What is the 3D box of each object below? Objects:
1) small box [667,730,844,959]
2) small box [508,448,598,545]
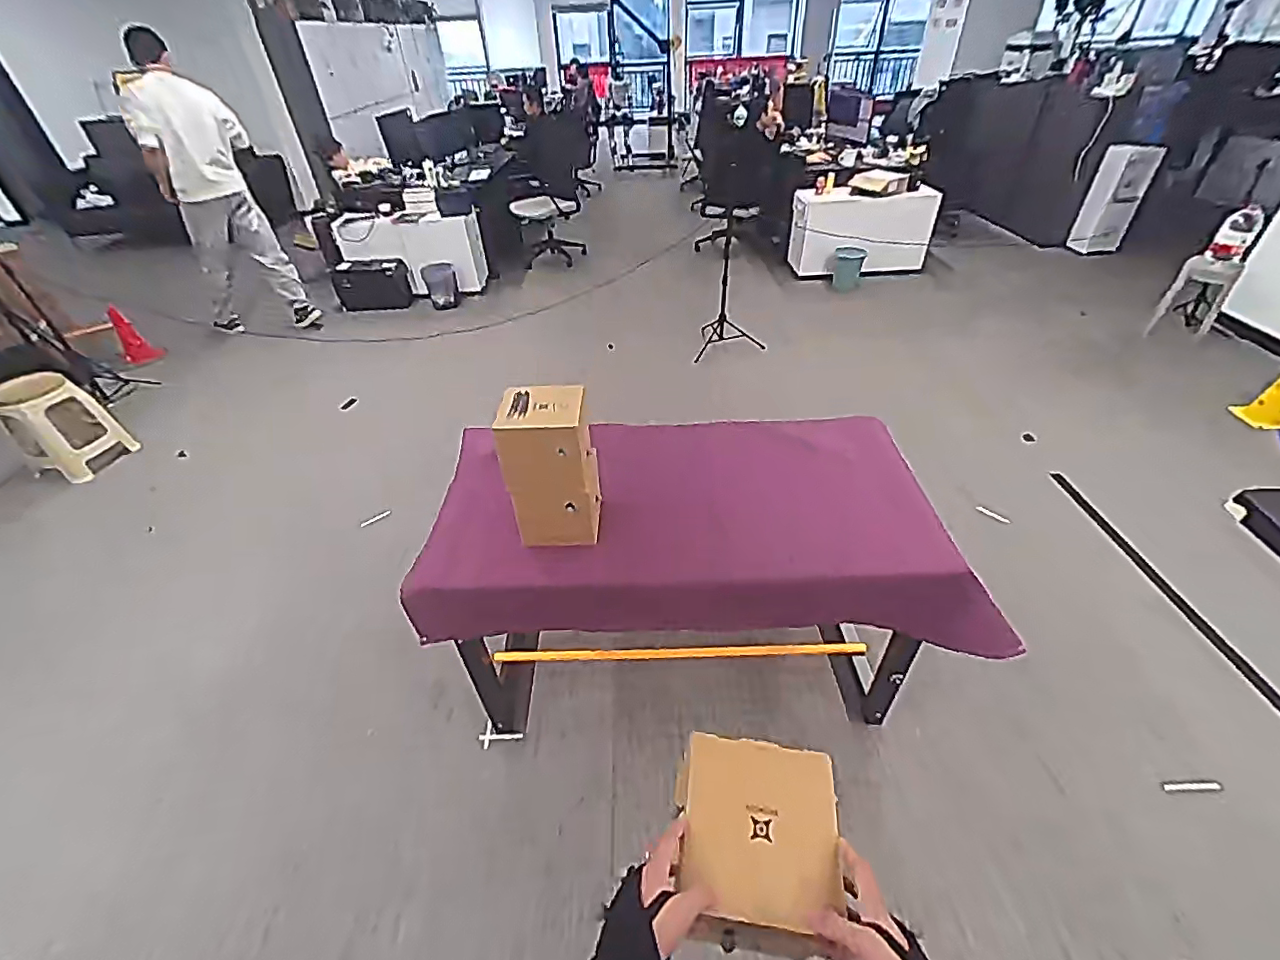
[{"bbox_3d":[0.125,0.427,0.633,0.168,0.176,0.179,7,42,4],"label":"small box"},{"bbox_3d":[-0.194,0.041,1.275,0.179,0.176,0.168,-1,39,2],"label":"small box"}]
